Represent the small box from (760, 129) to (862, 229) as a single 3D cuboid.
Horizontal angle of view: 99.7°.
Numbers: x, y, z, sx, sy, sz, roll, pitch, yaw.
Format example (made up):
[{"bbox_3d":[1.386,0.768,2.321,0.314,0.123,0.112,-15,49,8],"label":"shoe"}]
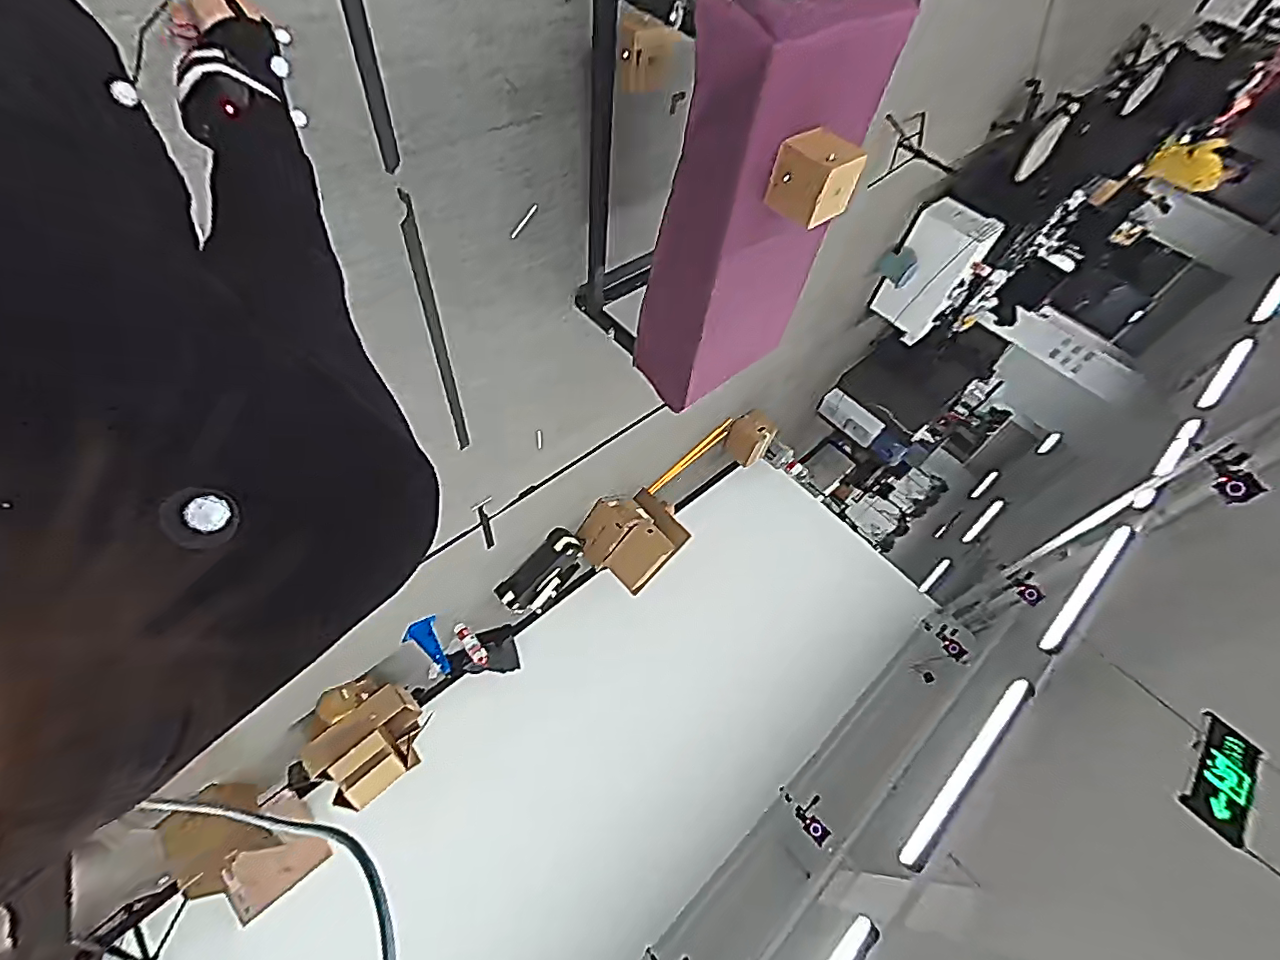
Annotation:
[{"bbox_3d":[0.467,-0.838,1.498,0.179,0.176,0.168,-35,157,-25],"label":"small box"}]
